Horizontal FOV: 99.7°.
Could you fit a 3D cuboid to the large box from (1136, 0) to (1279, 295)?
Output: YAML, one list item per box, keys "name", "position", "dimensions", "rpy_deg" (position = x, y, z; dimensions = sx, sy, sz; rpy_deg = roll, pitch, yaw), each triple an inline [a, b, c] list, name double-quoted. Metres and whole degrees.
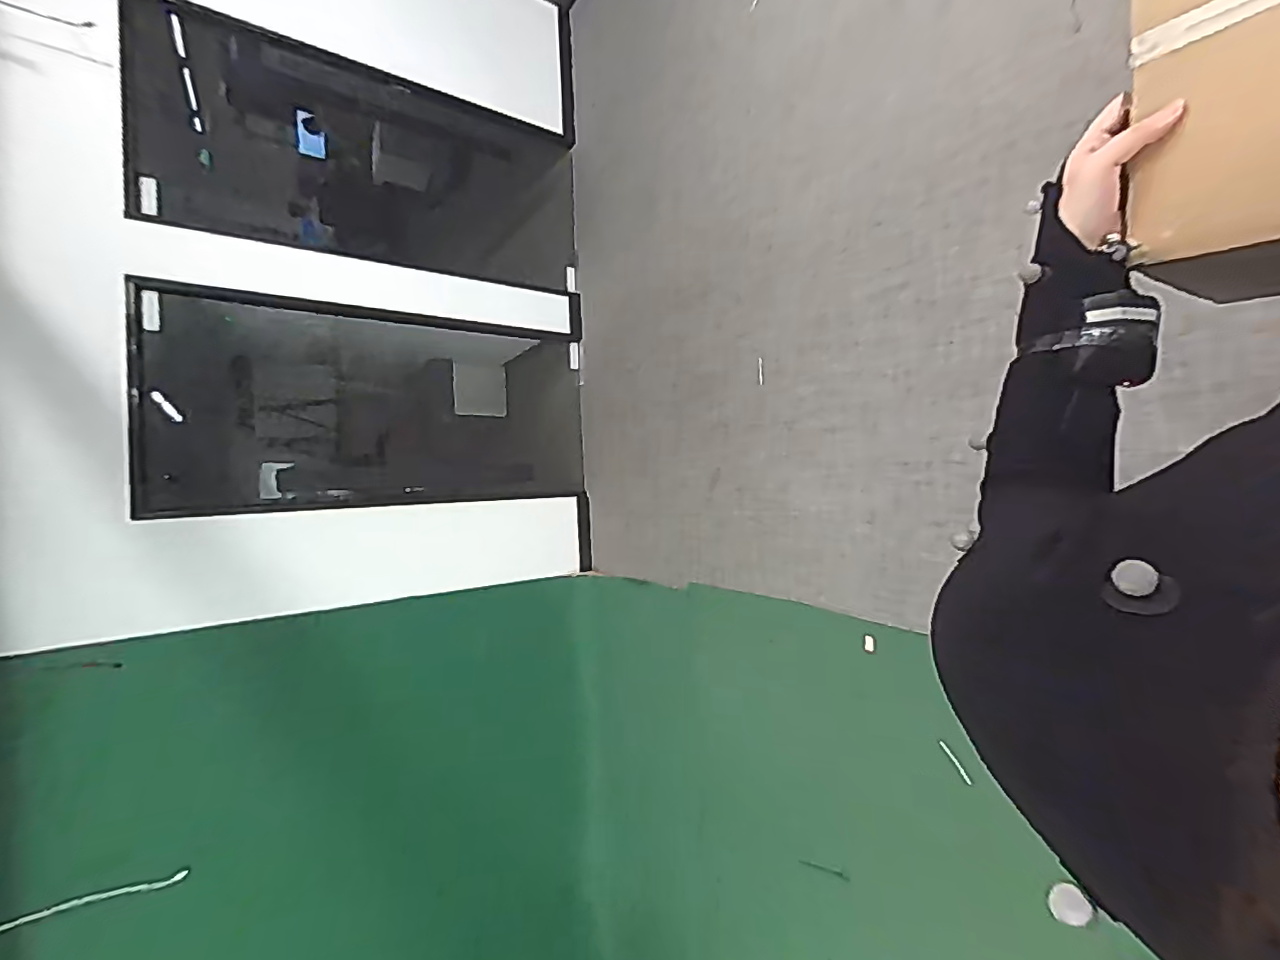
- name: "large box"
  position: [0.625, -0.327, 0.335]
  dimensions: [0.408, 0.320, 0.320]
  rpy_deg: [6, 99, 57]
